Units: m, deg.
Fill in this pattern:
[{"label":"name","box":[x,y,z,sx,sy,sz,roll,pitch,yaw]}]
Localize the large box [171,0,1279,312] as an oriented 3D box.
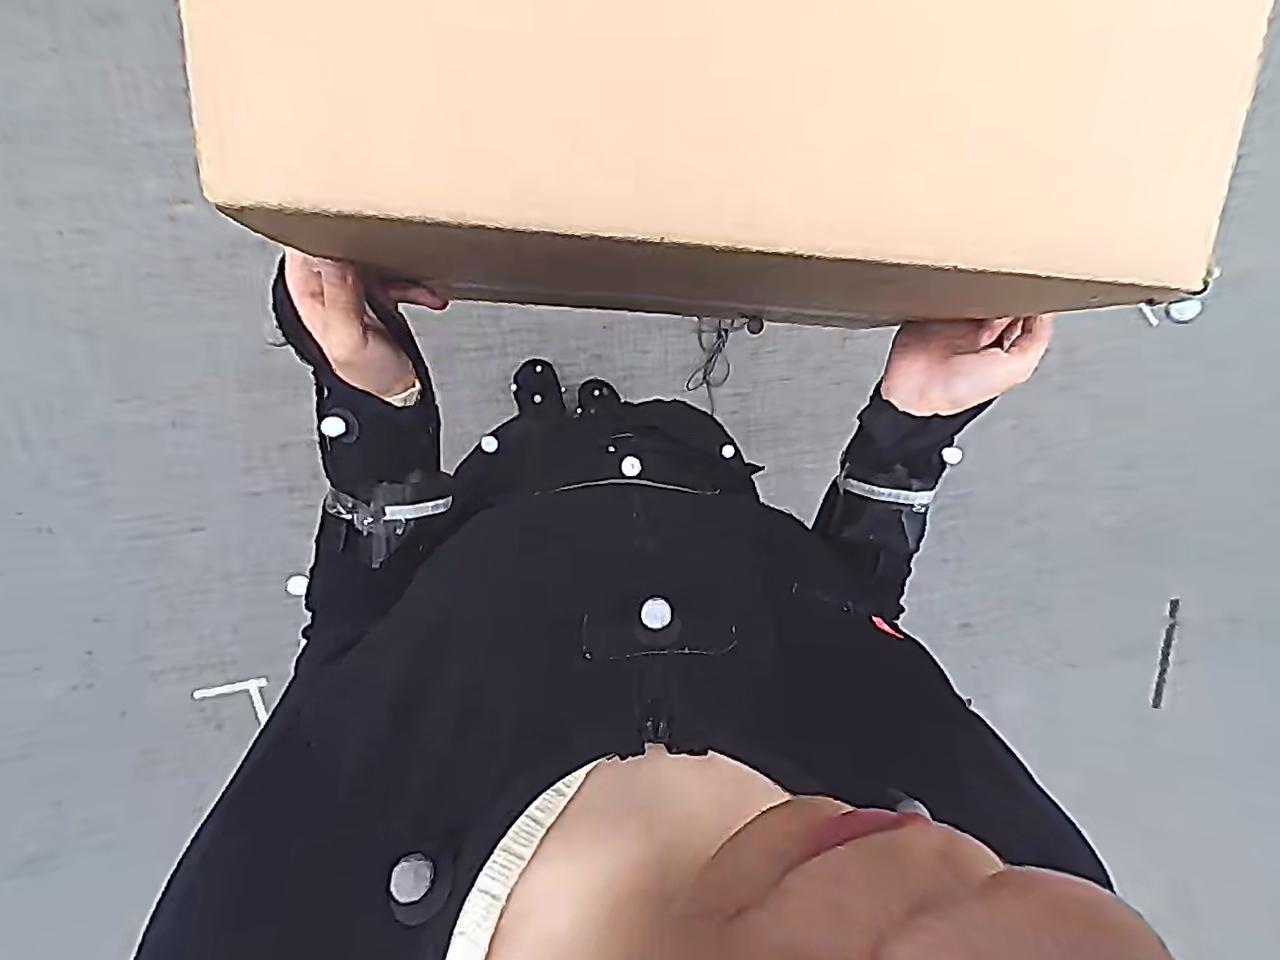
[{"label":"large box","box":[0.035,-0.278,0.313,0.408,0.320,0.320,0,104,-9]}]
